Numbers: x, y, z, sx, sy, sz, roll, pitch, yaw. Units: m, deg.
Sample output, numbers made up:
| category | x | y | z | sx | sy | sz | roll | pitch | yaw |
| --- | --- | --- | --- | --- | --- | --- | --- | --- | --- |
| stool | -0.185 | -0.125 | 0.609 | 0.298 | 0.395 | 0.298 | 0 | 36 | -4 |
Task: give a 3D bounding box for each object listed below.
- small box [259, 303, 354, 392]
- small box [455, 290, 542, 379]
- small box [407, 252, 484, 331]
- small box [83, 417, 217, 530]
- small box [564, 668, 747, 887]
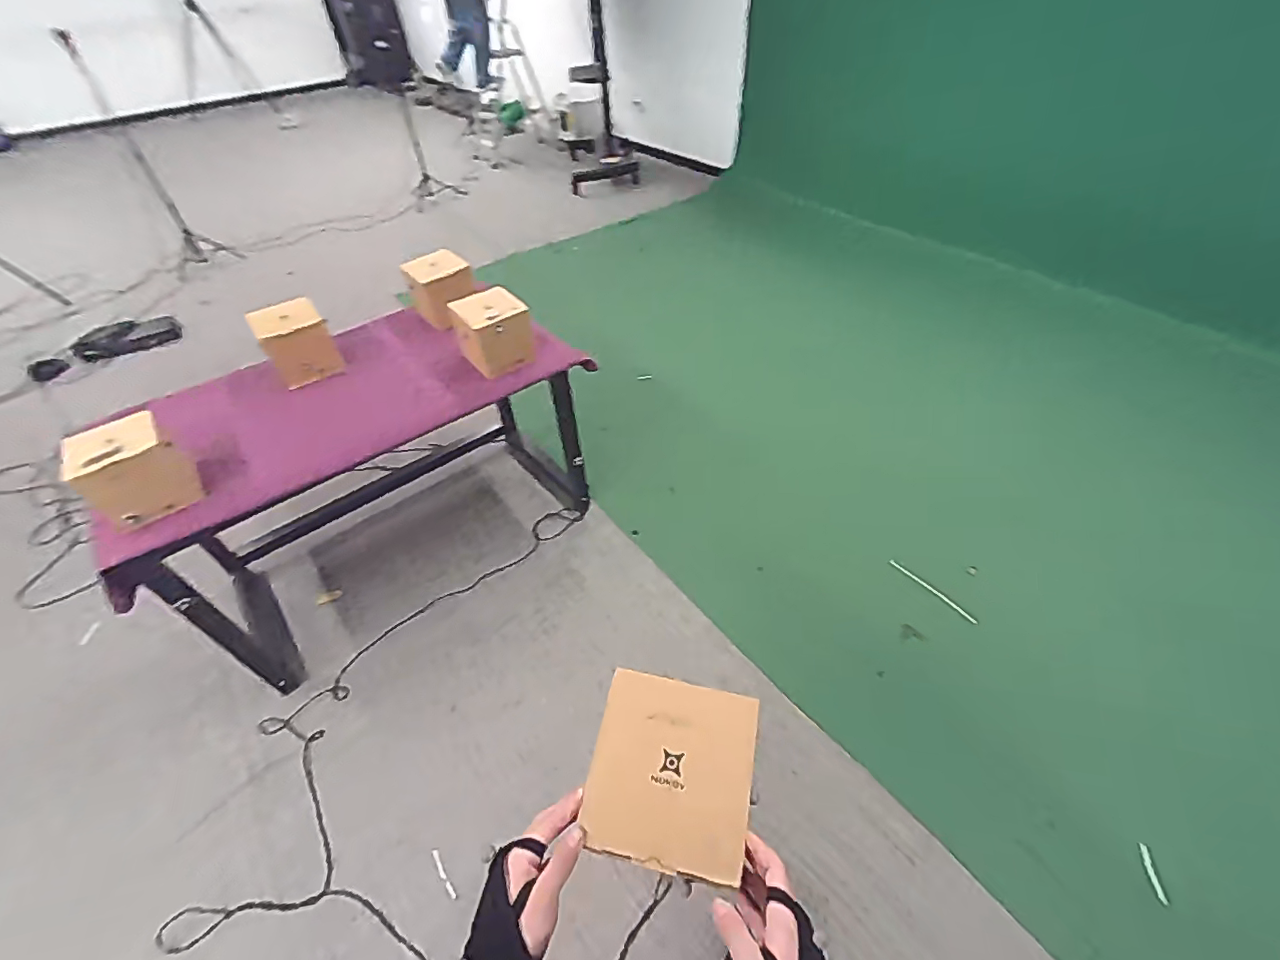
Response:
| category | x | y | z | sx | sy | sz | roll | pitch | yaw |
| --- | --- | --- | --- | --- | --- | --- | --- | --- | --- |
| small box | -0.980 | -0.389 | 1.596 | 0.168 | 0.176 | 0.179 | -30 | 53 | -23 |
| small box | -0.407 | -0.422 | 1.572 | 0.168 | 0.176 | 0.179 | -32 | 52 | -21 |
| small box | -0.626 | -0.616 | 1.774 | 0.168 | 0.176 | 0.179 | -35 | 54 | -22 |
| small box | -1.117 | -0.008 | 1.243 | 0.168 | 0.176 | 0.179 | -32 | 50 | -23 |
| small box | 0.026 | 0.347 | 0.633 | 0.168 | 0.176 | 0.179 | 10 | 55 | 10 |
